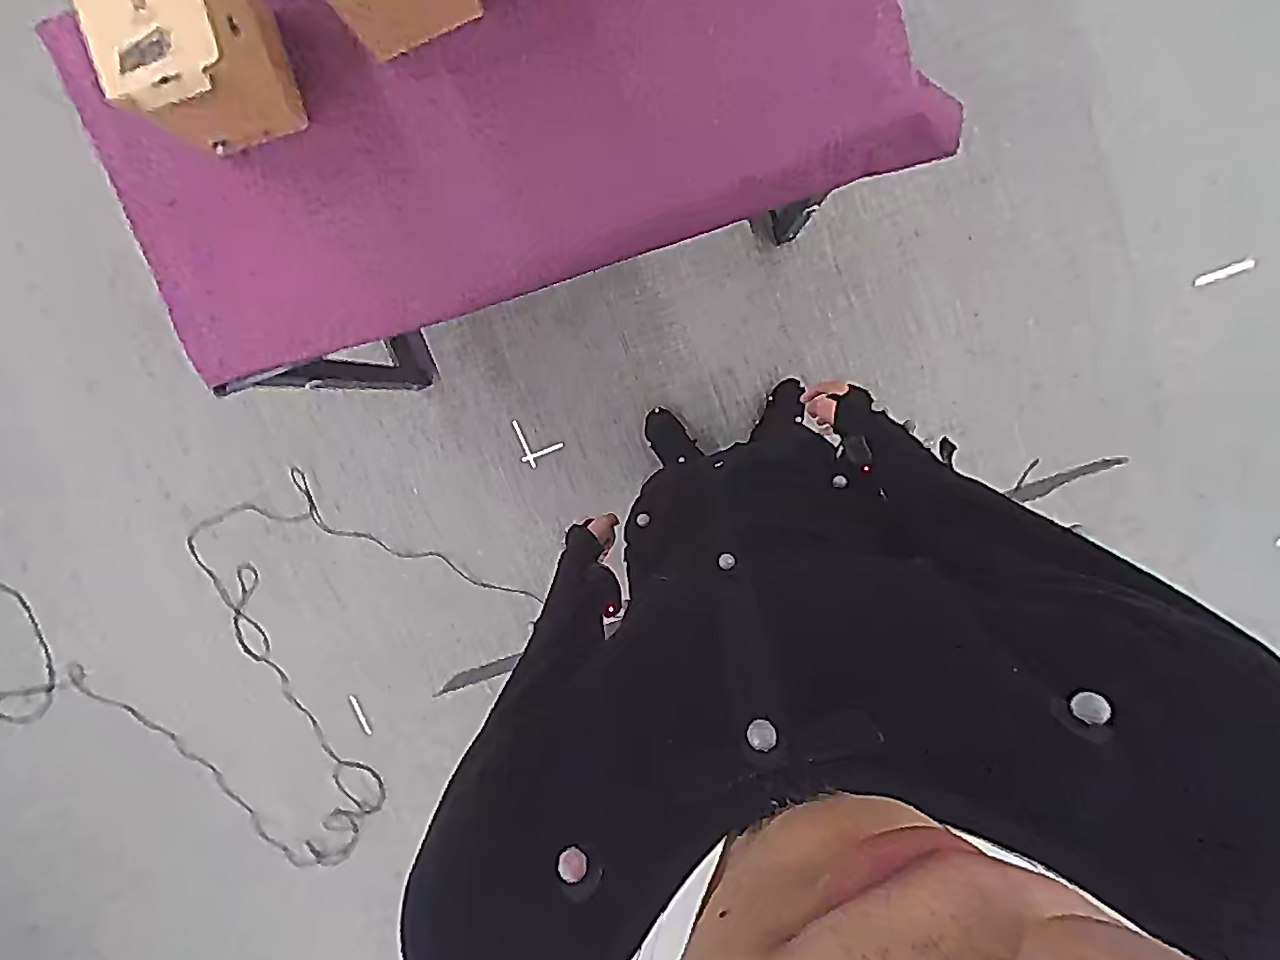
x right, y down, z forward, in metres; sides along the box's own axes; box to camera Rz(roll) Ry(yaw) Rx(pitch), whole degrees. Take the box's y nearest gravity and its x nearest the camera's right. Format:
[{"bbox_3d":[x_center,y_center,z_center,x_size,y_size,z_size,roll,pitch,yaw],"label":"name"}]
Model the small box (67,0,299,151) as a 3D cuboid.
[{"bbox_3d":[-0.620,-0.591,0.752,0.168,0.176,0.179,-15,98,4],"label":"small box"}]
